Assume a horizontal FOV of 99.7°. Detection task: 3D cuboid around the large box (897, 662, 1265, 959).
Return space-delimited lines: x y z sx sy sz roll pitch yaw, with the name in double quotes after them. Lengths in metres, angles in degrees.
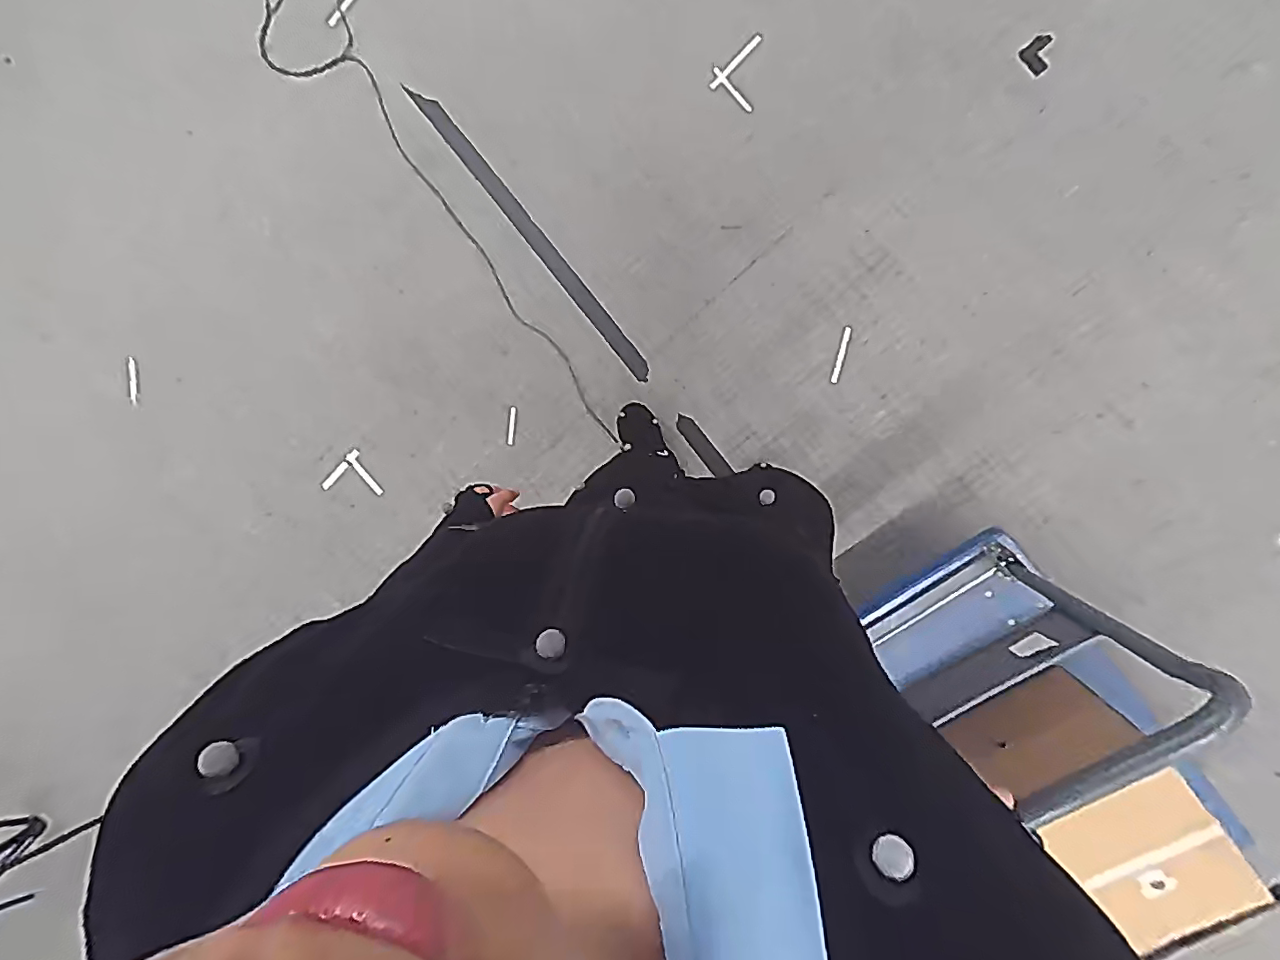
0.814 0.646 1.078 0.408 0.320 0.320 -37 90 12 "large box"
